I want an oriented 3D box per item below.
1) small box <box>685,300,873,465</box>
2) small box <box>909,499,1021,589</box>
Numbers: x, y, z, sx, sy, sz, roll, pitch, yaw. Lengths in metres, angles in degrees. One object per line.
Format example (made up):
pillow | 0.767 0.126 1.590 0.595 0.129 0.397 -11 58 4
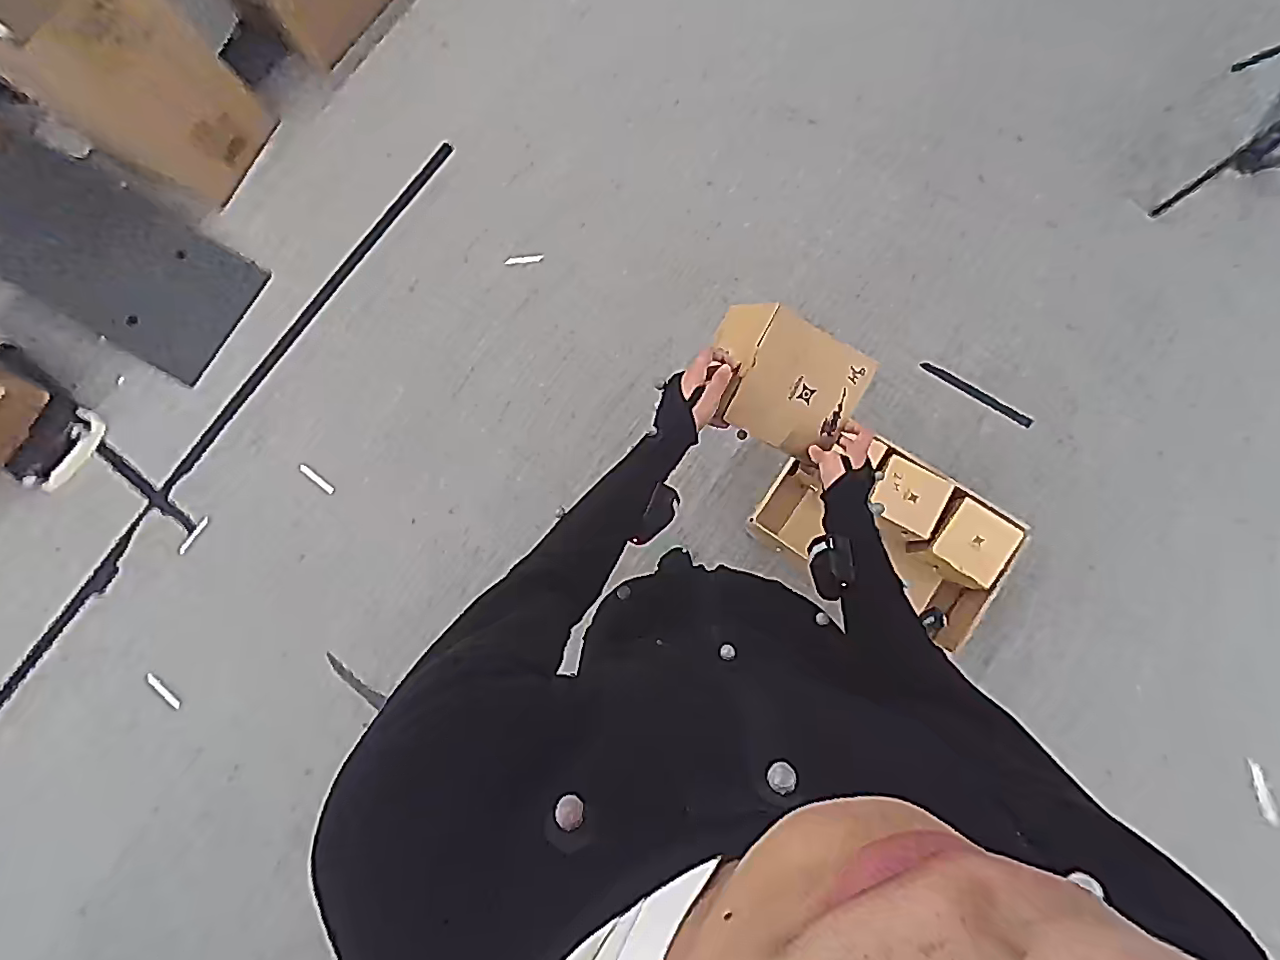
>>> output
small box | 0.190 -0.144 0.795 0.179 0.176 0.168 24 99 -19
small box | 0.864 0.173 1.459 0.168 0.176 0.179 35 87 11
